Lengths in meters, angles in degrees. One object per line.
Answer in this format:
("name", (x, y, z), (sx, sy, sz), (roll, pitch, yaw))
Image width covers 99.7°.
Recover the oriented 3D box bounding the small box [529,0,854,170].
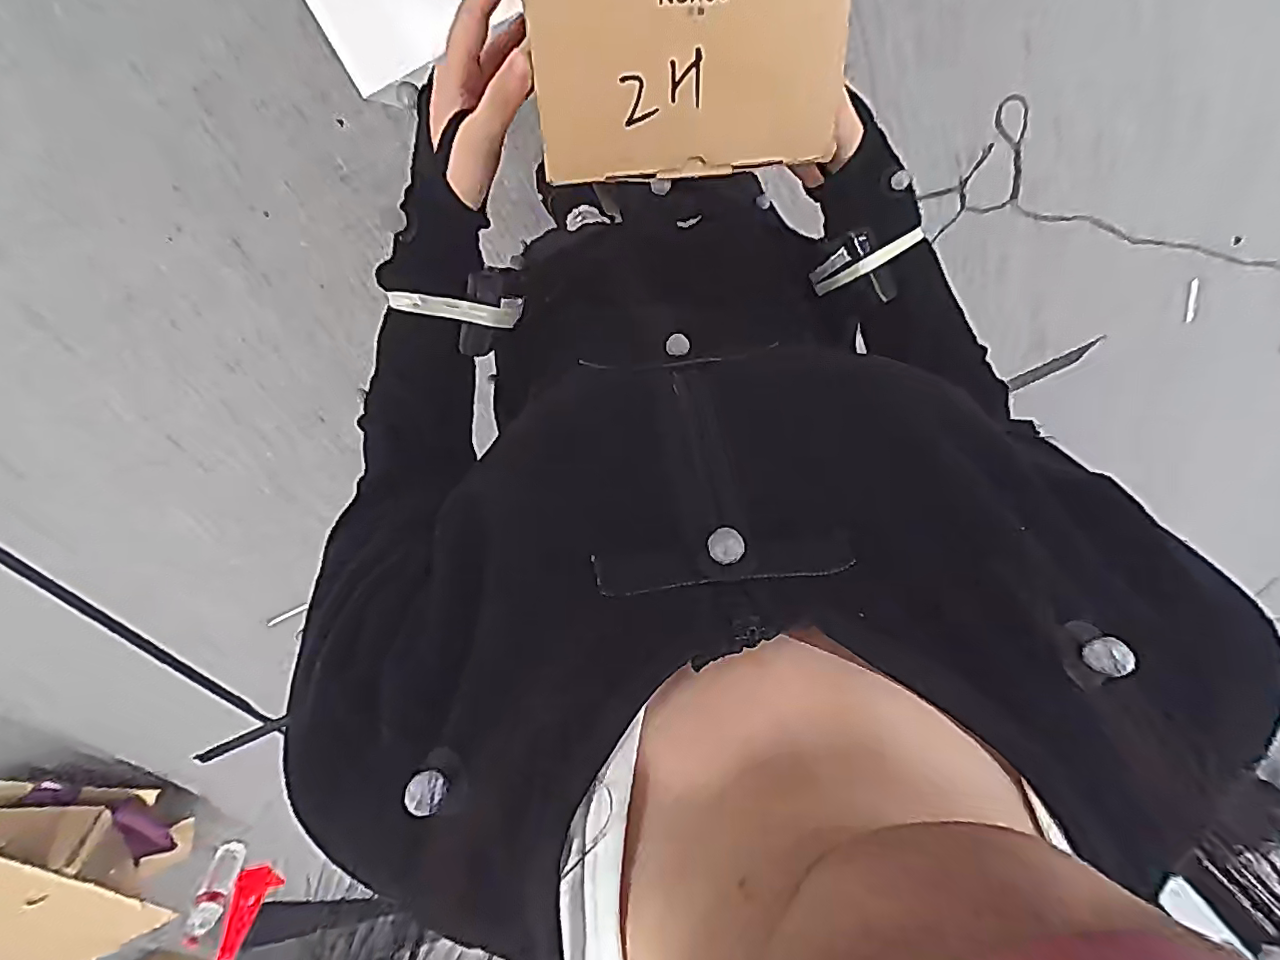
("small box", (0.016, -0.293, 0.328), (0.168, 0.176, 0.179), (-7, 122, -5))
